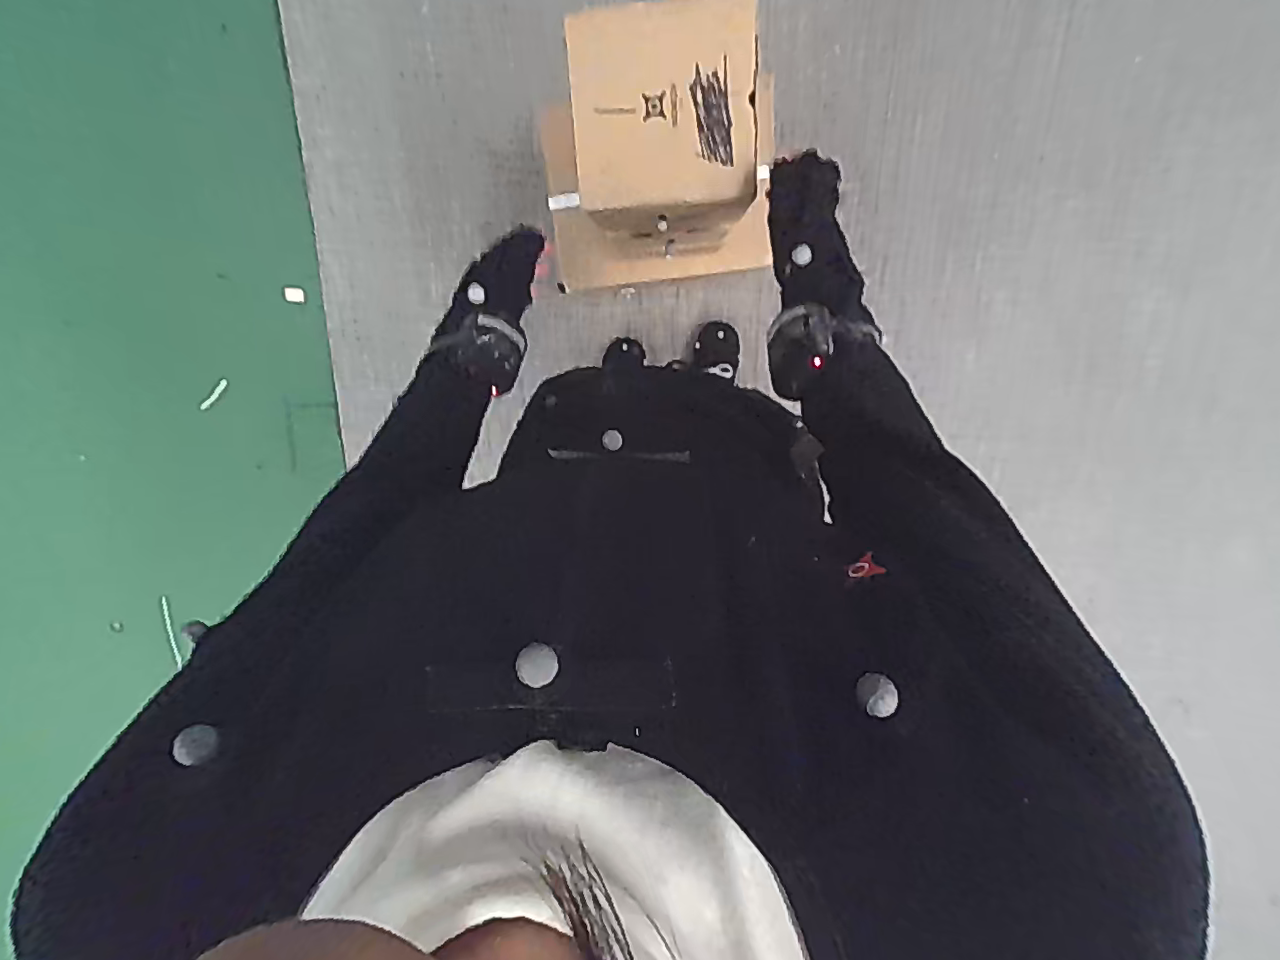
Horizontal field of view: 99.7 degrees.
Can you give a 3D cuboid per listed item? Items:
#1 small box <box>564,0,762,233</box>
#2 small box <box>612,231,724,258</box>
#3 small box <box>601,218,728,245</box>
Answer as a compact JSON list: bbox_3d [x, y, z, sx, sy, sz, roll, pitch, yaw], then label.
[{"bbox_3d":[0.027,-0.369,0.579,0.179,0.176,0.168,-5,108,5],"label":"small box"},{"bbox_3d":[0.043,-0.465,0.892,0.179,0.176,0.168,-4,109,4],"label":"small box"},{"bbox_3d":[0.033,-0.421,0.735,0.168,0.176,0.179,-3,109,5],"label":"small box"}]
